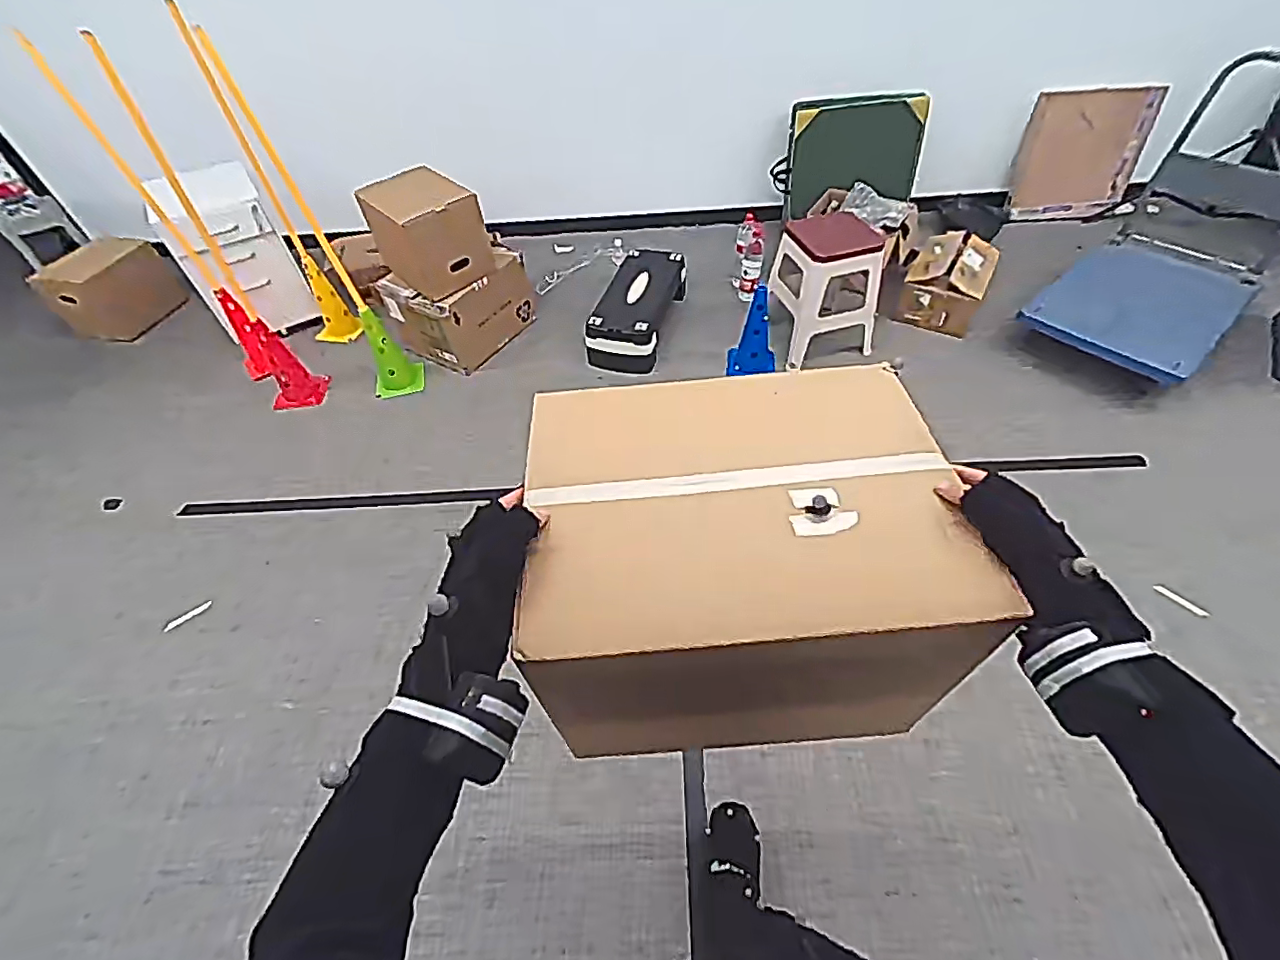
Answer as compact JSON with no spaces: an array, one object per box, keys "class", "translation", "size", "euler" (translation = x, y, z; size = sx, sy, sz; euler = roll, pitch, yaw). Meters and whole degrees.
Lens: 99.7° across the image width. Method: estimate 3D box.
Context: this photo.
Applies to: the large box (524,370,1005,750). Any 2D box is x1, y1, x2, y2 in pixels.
[{"class":"large box","translation":[0.098,0.101,0.644],"size":[0.408,0.320,0.320],"euler":[-5,50,0]}]
